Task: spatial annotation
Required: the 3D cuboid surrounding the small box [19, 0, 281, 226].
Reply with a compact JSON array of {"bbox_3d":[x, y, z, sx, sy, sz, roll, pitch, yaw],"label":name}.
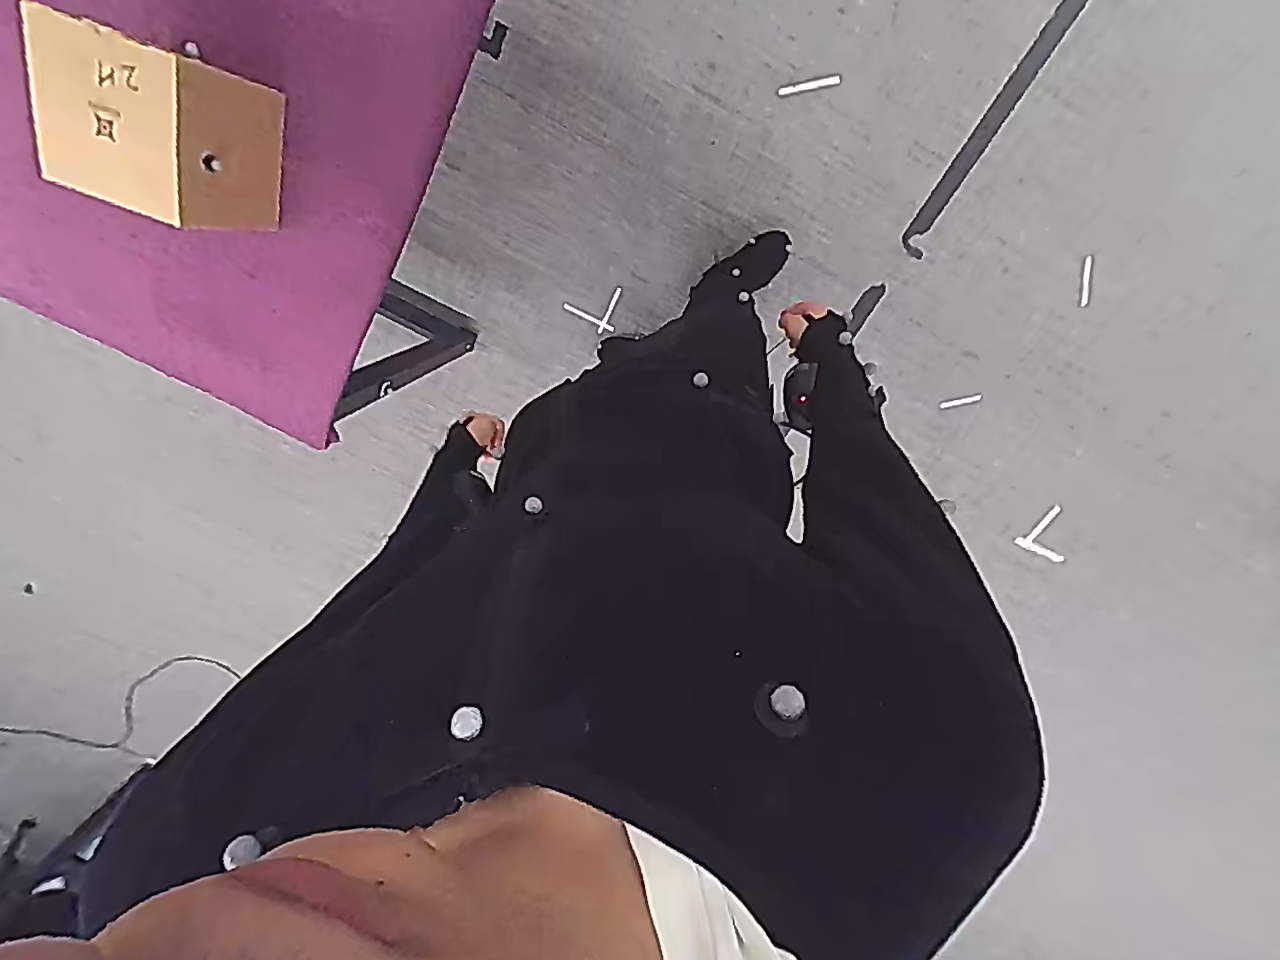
[{"bbox_3d":[-0.575,-0.426,0.660,0.168,0.176,0.179,20,114,-3],"label":"small box"}]
